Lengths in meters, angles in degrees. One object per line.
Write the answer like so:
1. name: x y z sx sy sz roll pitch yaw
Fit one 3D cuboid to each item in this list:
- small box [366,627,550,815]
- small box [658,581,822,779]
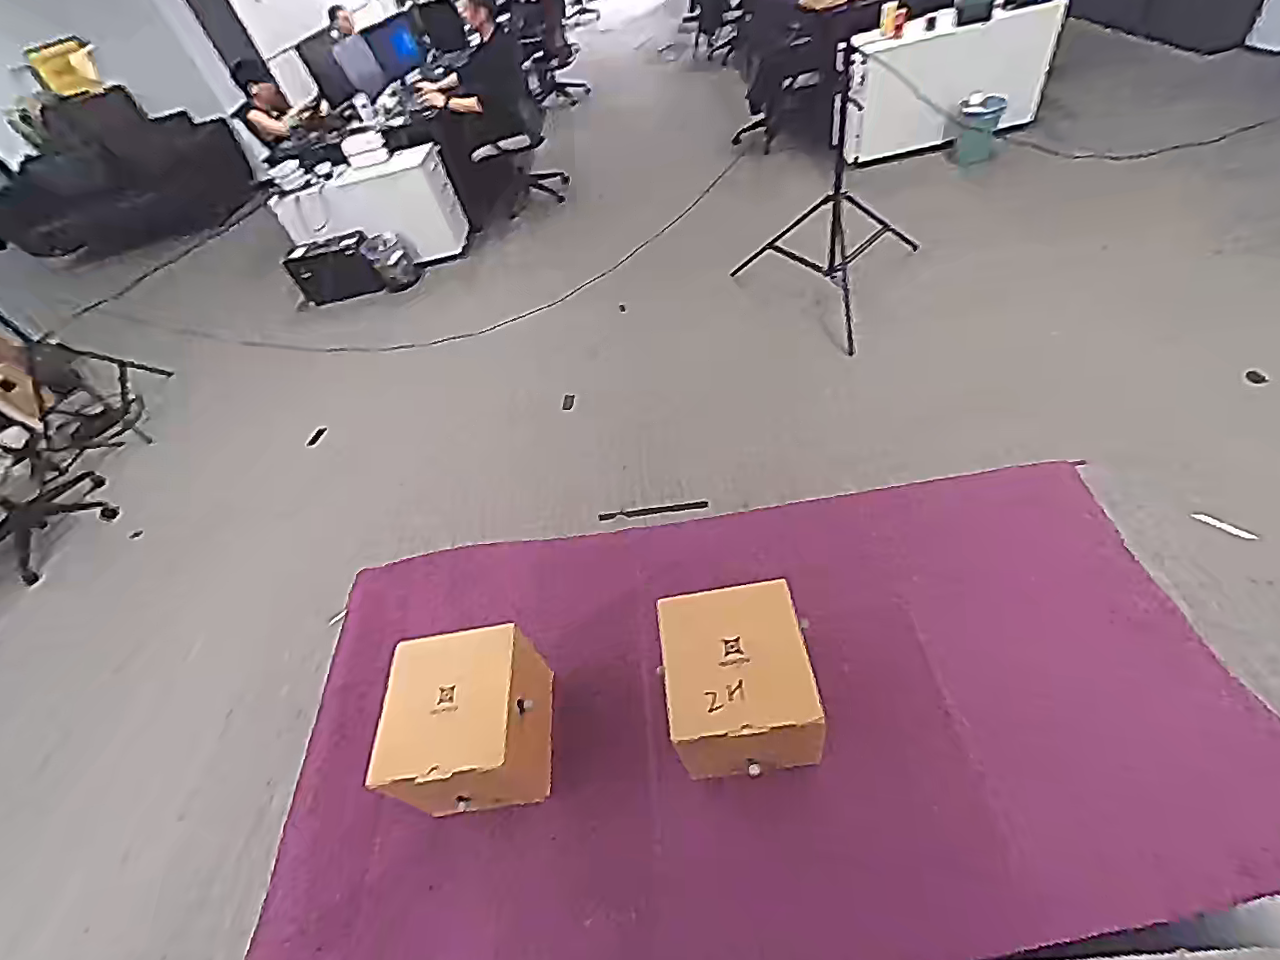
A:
1. small box: -0.224 0.323 0.720 0.168 0.176 0.179 -11 49 5
2. small box: 0.121 0.255 0.685 0.168 0.176 0.179 -11 48 6
